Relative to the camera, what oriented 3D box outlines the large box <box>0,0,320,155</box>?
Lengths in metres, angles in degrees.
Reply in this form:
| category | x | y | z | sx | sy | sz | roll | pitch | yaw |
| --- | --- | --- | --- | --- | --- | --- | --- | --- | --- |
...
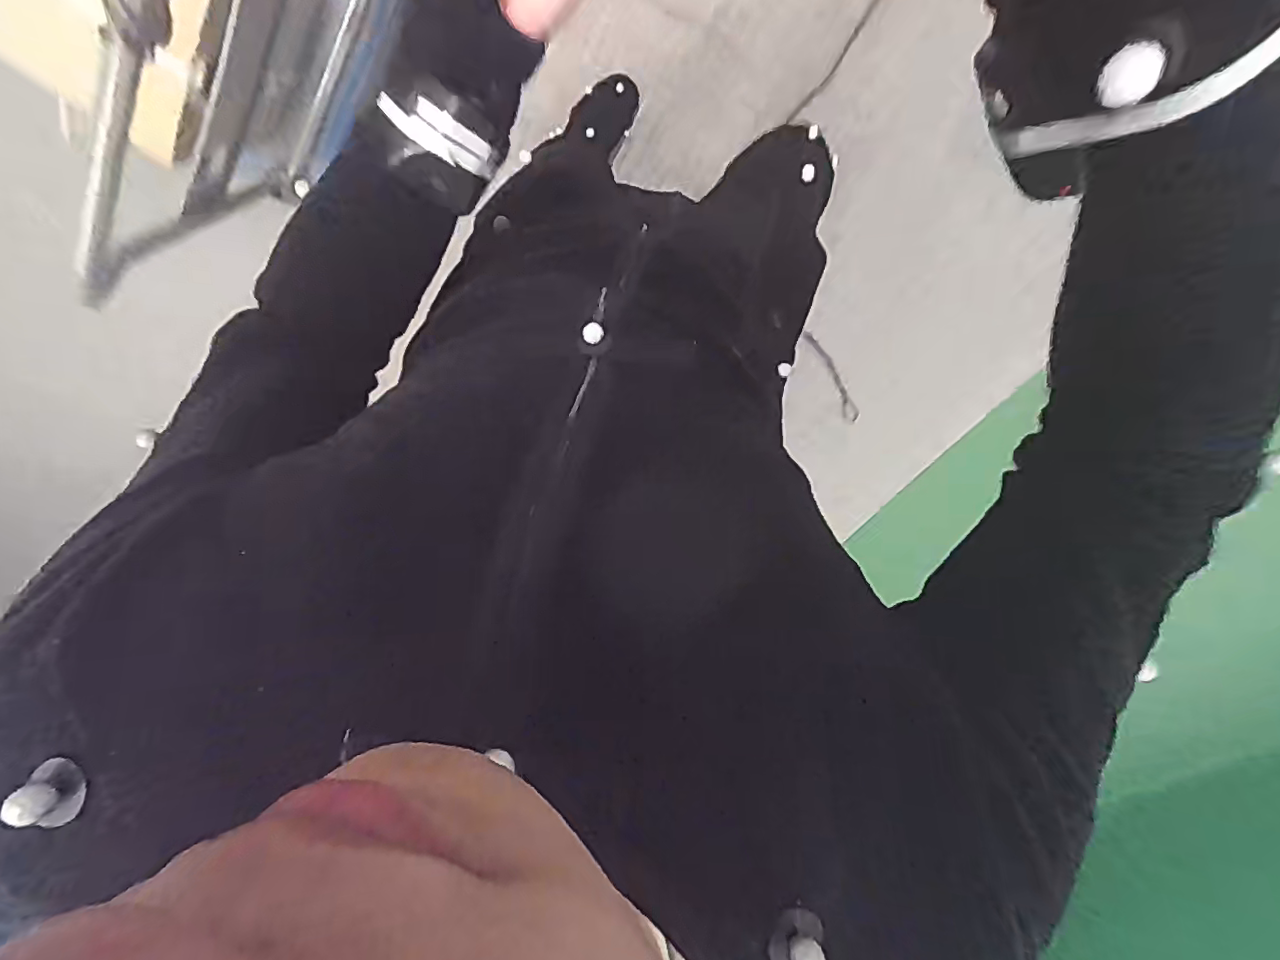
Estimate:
| category | x | y | z | sx | sy | sz | roll | pitch | yaw |
| --- | --- | --- | --- | --- | --- | --- | --- | --- | --- |
| large box | -0.807 | -0.808 | 0.852 | 0.408 | 0.320 | 0.320 | 33 | 121 | -23 |
